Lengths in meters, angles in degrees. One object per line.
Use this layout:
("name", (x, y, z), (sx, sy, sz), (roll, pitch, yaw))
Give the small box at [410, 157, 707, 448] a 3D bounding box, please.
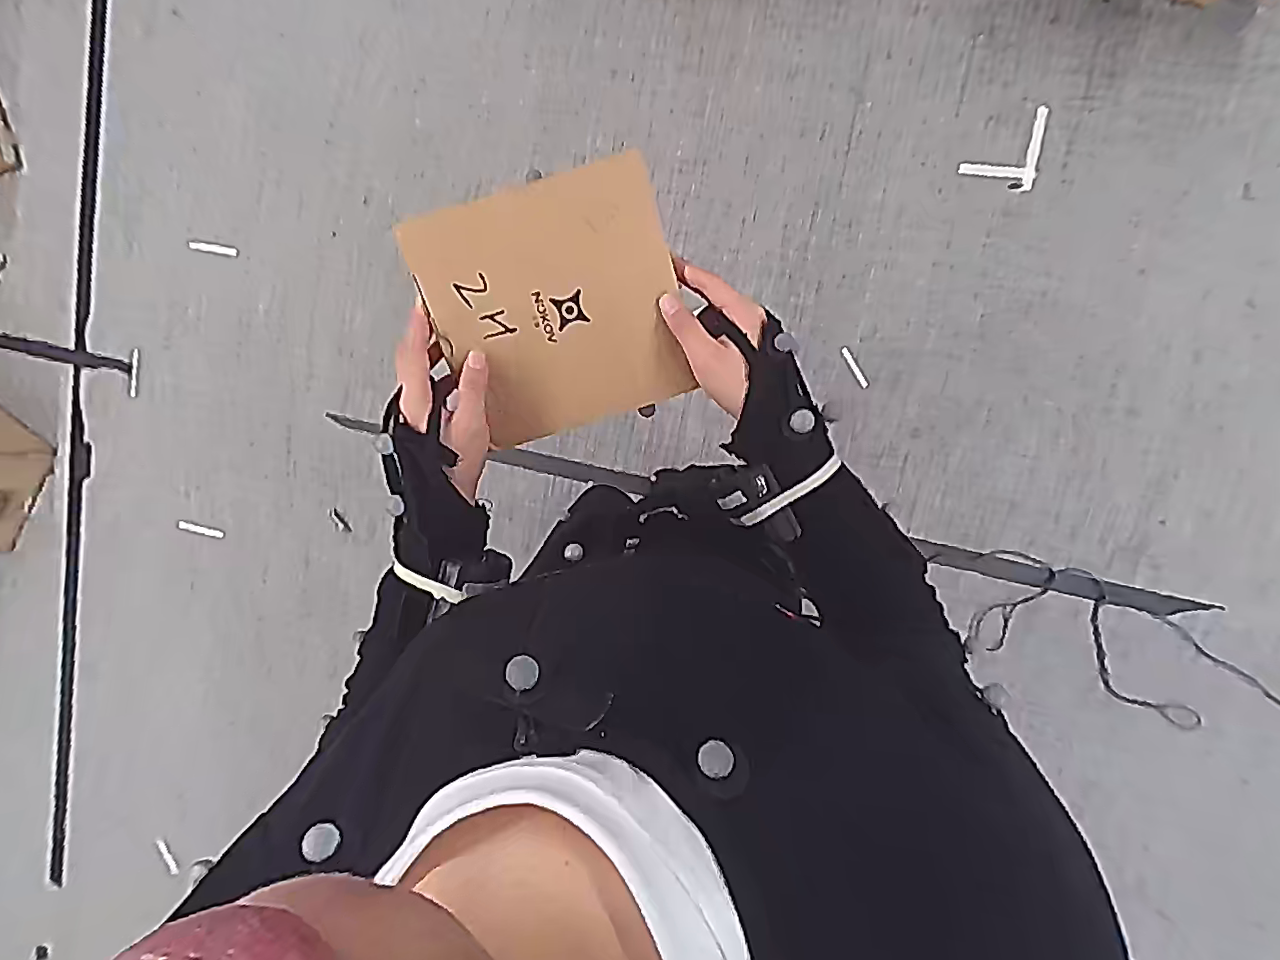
("small box", (-0.058, -0.146, 0.459), (0.179, 0.176, 0.168), (-16, 109, 2))
